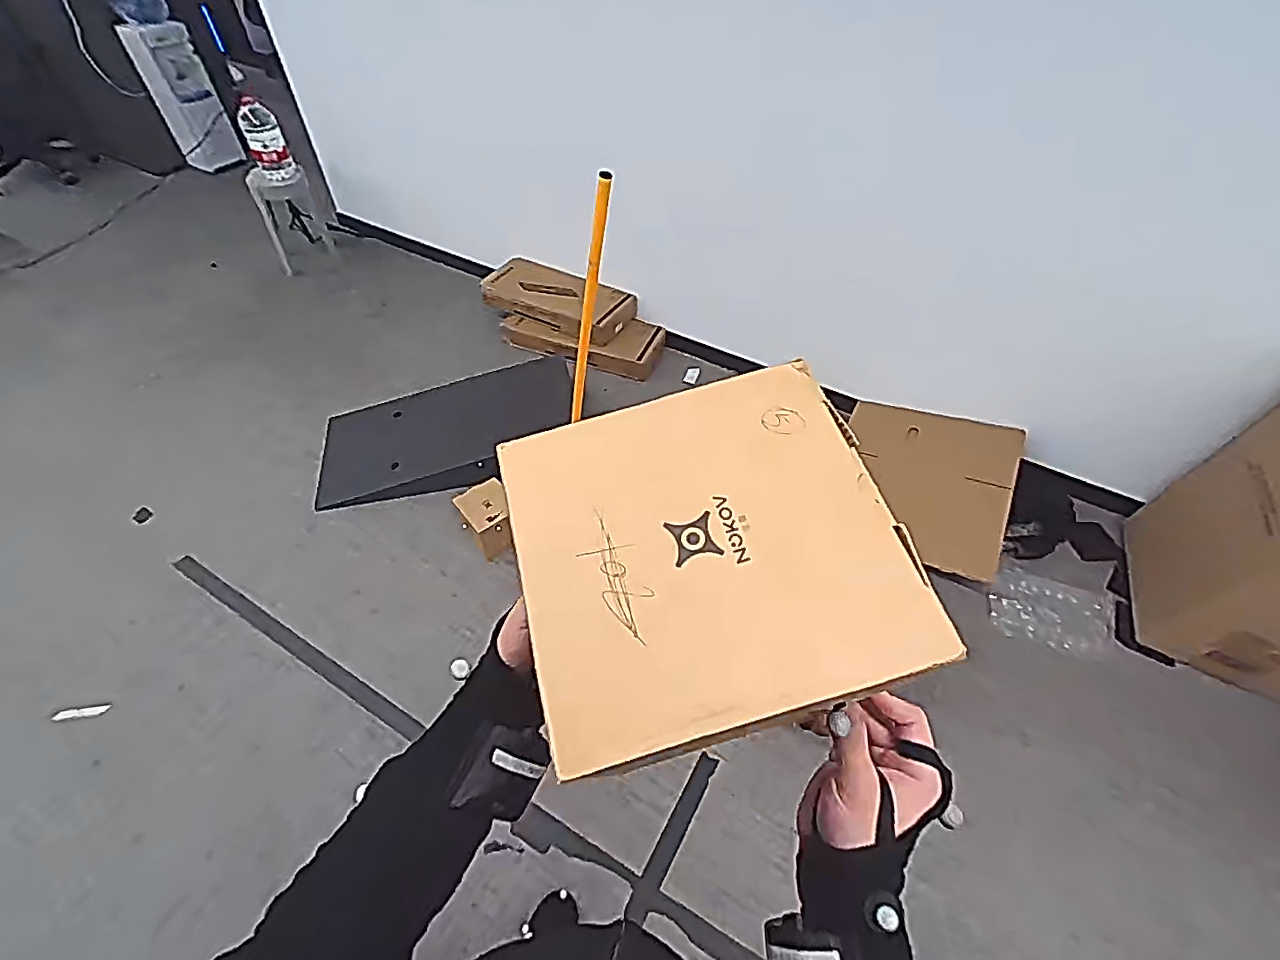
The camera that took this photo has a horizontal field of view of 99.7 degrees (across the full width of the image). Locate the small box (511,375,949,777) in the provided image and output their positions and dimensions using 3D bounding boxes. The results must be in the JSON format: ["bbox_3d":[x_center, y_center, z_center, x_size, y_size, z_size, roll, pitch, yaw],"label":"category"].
[{"bbox_3d":[0.039,0.069,0.336,0.179,0.176,0.168,-17,61,-2],"label":"small box"}]
